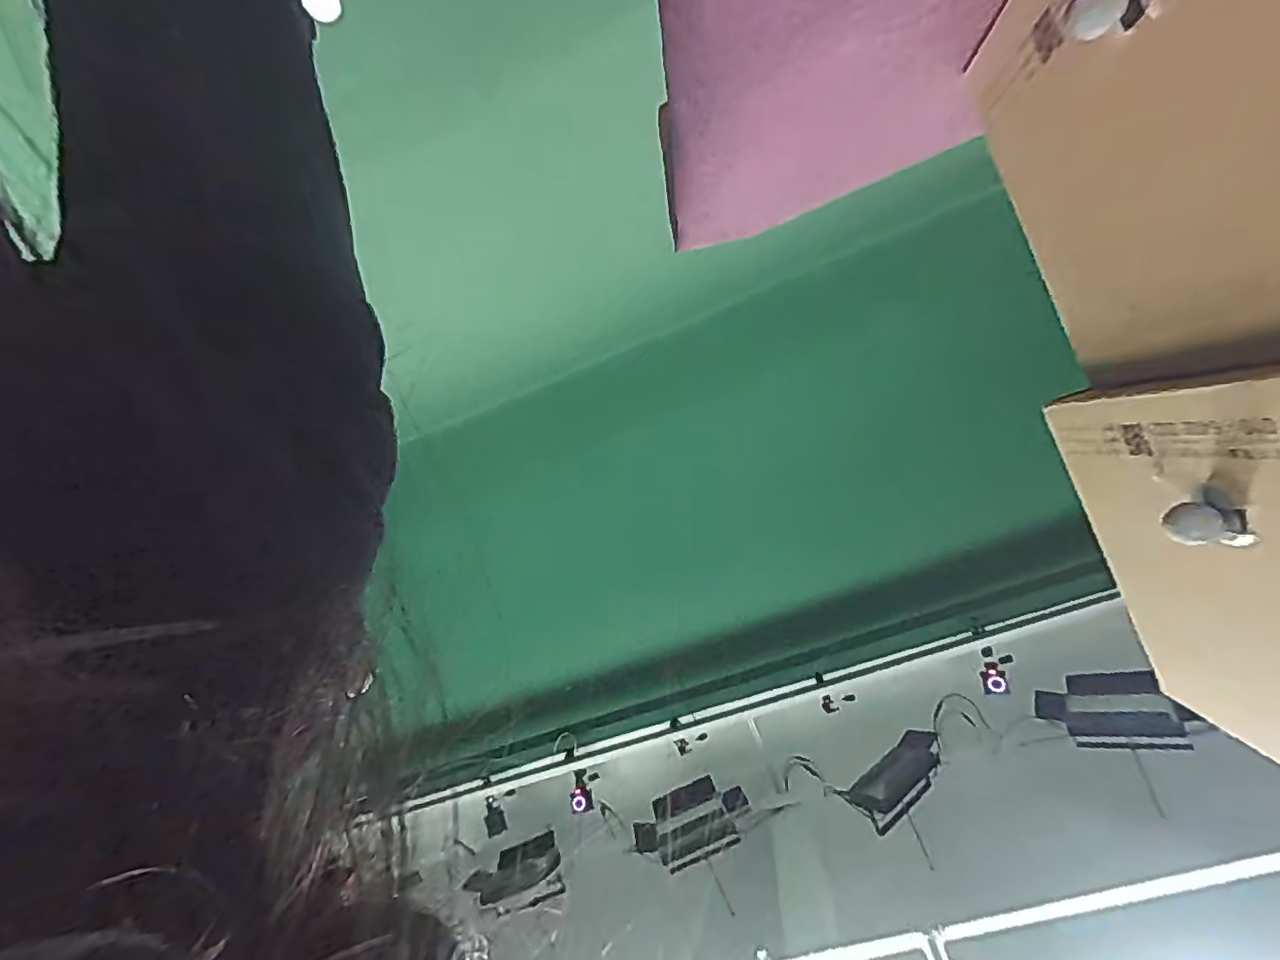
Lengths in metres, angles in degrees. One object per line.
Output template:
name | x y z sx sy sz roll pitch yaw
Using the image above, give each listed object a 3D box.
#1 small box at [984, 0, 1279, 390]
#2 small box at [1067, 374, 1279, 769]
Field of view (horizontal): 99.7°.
small box | 0.250 -0.141 0.159 0.179 0.176 0.168 -22 179 12
small box | 0.304 0.014 0.179 0.179 0.176 0.168 -22 179 12
